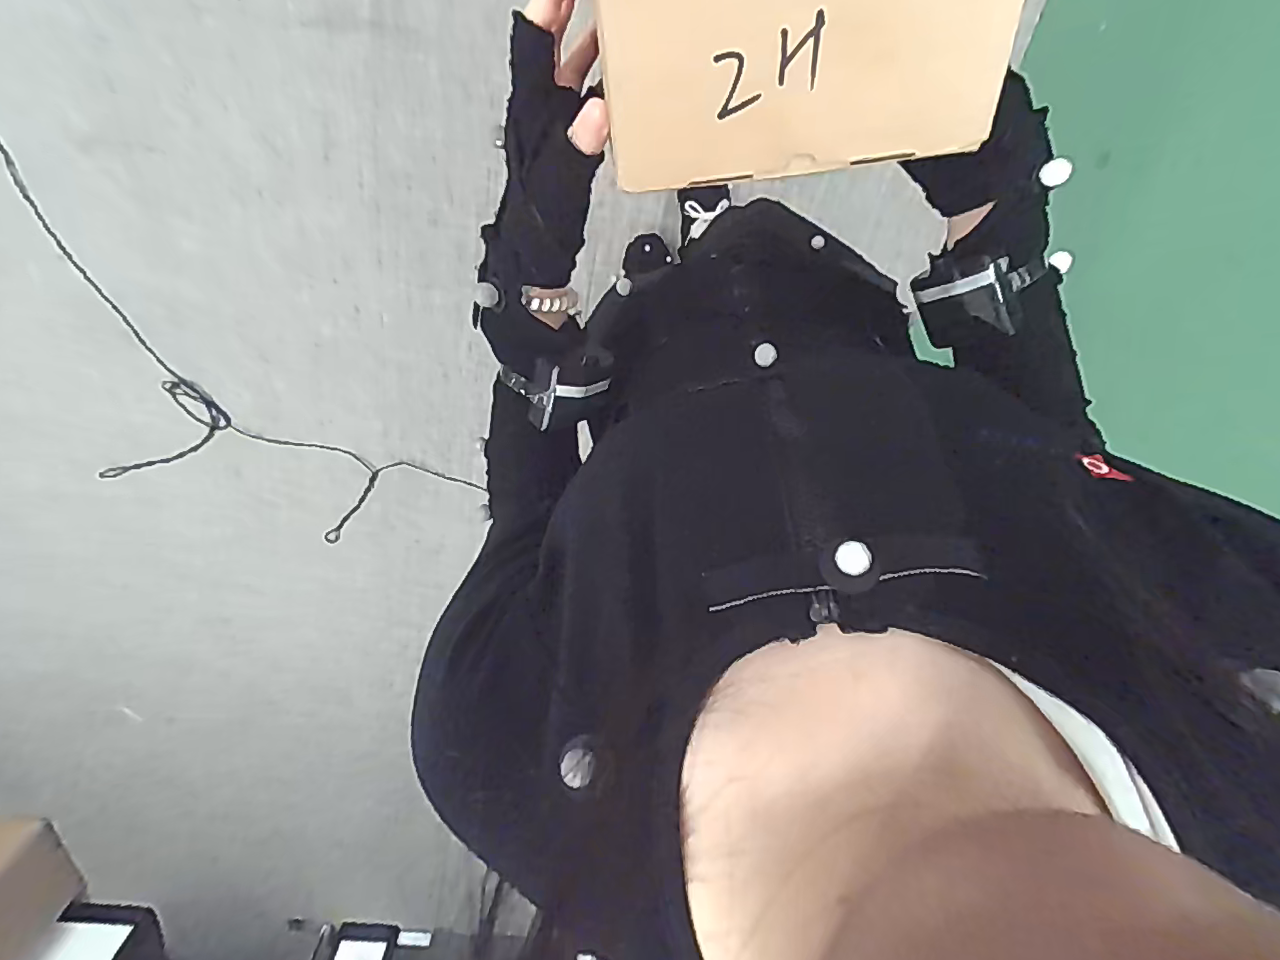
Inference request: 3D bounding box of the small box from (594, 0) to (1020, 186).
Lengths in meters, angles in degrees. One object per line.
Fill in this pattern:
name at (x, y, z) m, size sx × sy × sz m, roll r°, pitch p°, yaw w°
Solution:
small box at (0.059, -0.258, 0.253) m, size 0.168 × 0.176 × 0.179 m, roll -7°, pitch 129°, yaw 1°
